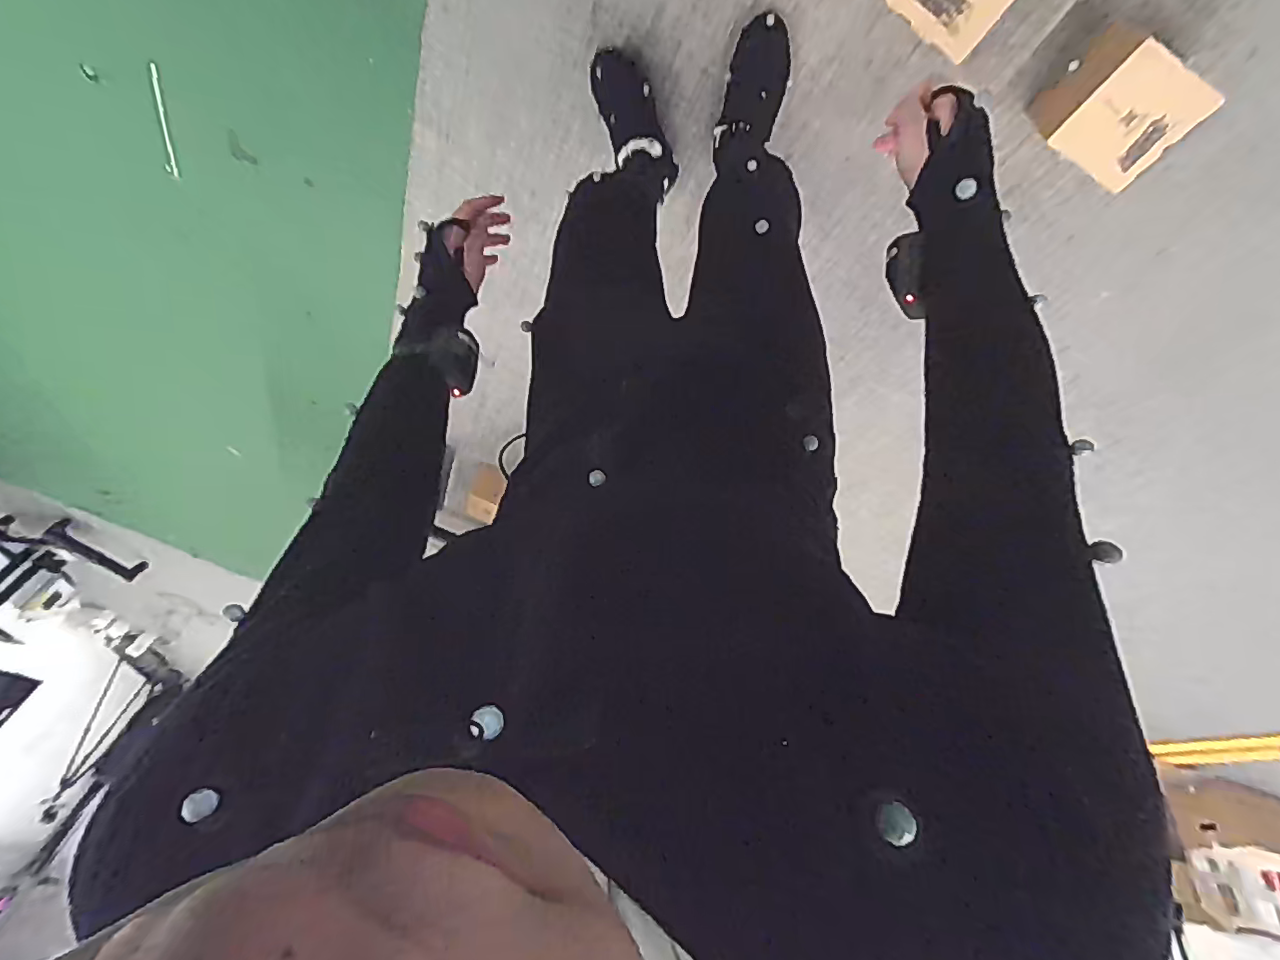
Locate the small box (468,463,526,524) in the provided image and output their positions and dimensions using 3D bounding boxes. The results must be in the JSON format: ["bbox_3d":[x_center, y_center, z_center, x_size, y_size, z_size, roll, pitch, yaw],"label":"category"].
[{"bbox_3d":[-0.599,0.054,2.274,0.179,0.176,0.168,24,140,-8],"label":"small box"}]

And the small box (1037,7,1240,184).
[{"bbox_3d":[0.825,-0.652,0.915,0.179,0.176,0.168,26,140,-10],"label":"small box"}]
